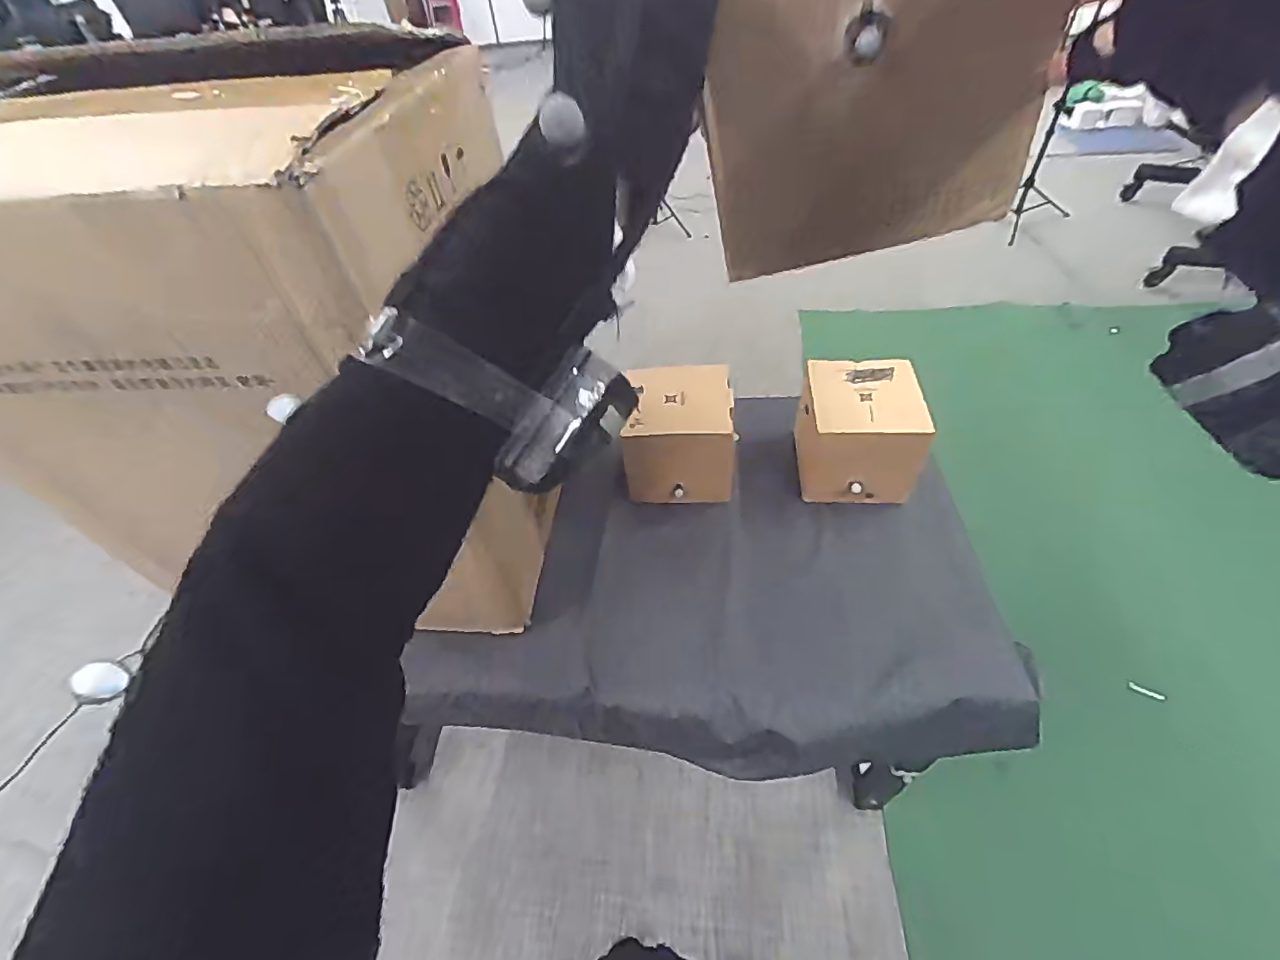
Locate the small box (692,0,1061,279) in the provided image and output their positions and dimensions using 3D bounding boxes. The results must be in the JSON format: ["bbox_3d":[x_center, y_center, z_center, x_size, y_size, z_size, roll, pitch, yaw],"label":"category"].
[{"bbox_3d":[0.133,-0.256,0.345,0.179,0.176,0.168,-8,57,13],"label":"small box"}]

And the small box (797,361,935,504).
[{"bbox_3d":[0.364,-0.081,0.909,0.168,0.176,0.179,1,50,8],"label":"small box"}]
